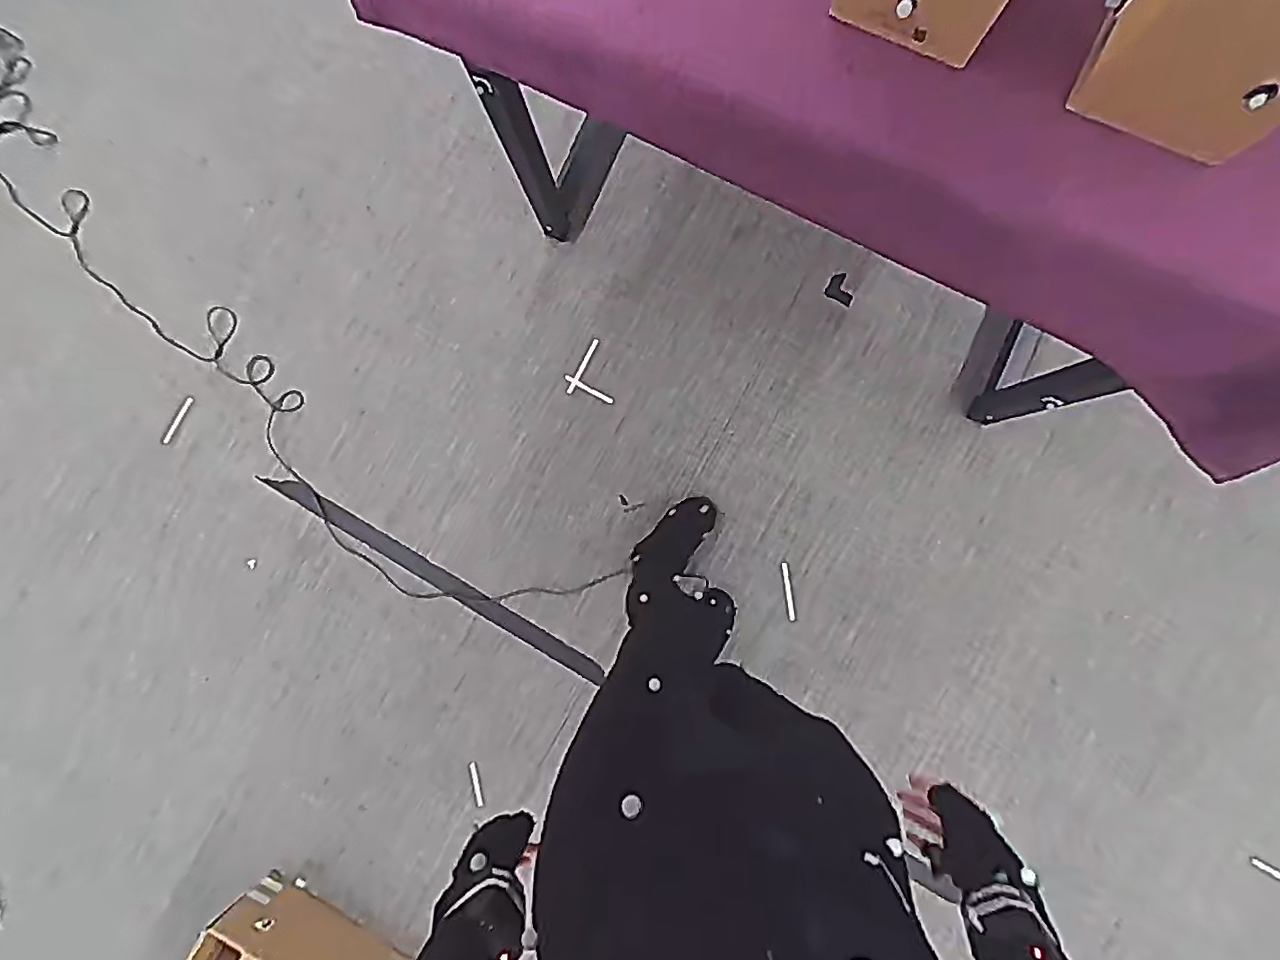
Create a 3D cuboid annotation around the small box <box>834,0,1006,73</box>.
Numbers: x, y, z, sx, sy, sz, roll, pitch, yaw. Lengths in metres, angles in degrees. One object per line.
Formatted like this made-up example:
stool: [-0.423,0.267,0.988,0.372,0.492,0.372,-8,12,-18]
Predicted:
small box: [0.321,-0.577,0.546,0.168,0.176,0.179,26,89,5]
